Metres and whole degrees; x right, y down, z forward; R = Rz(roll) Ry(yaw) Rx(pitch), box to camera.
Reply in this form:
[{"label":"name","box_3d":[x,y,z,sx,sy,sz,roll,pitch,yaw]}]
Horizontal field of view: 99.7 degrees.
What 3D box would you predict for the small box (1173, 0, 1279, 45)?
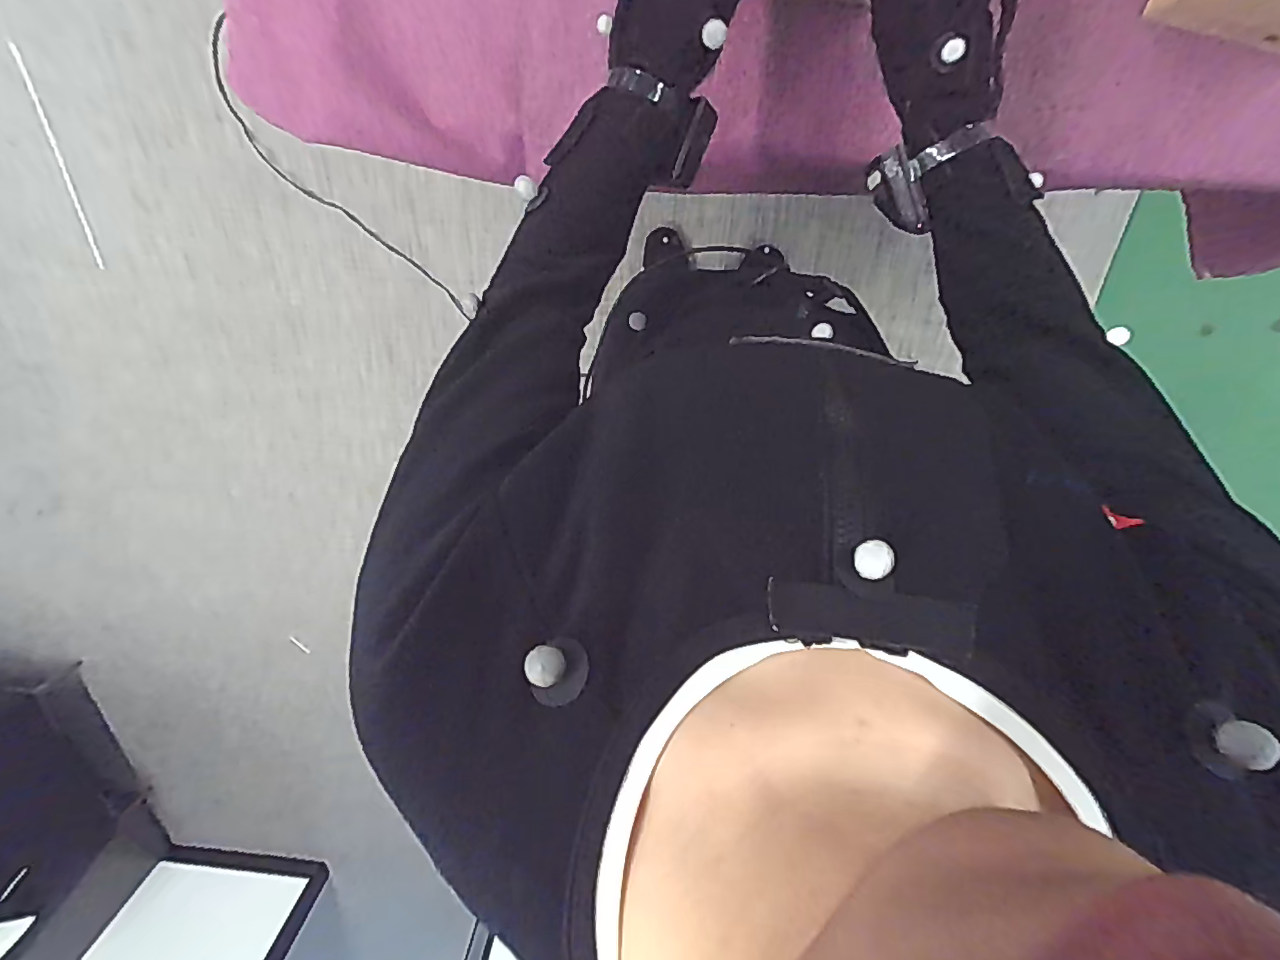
[{"label":"small box","box_3d":[0.553,-0.448,0.389,0.168,0.176,0.179,14,117,-1]}]
